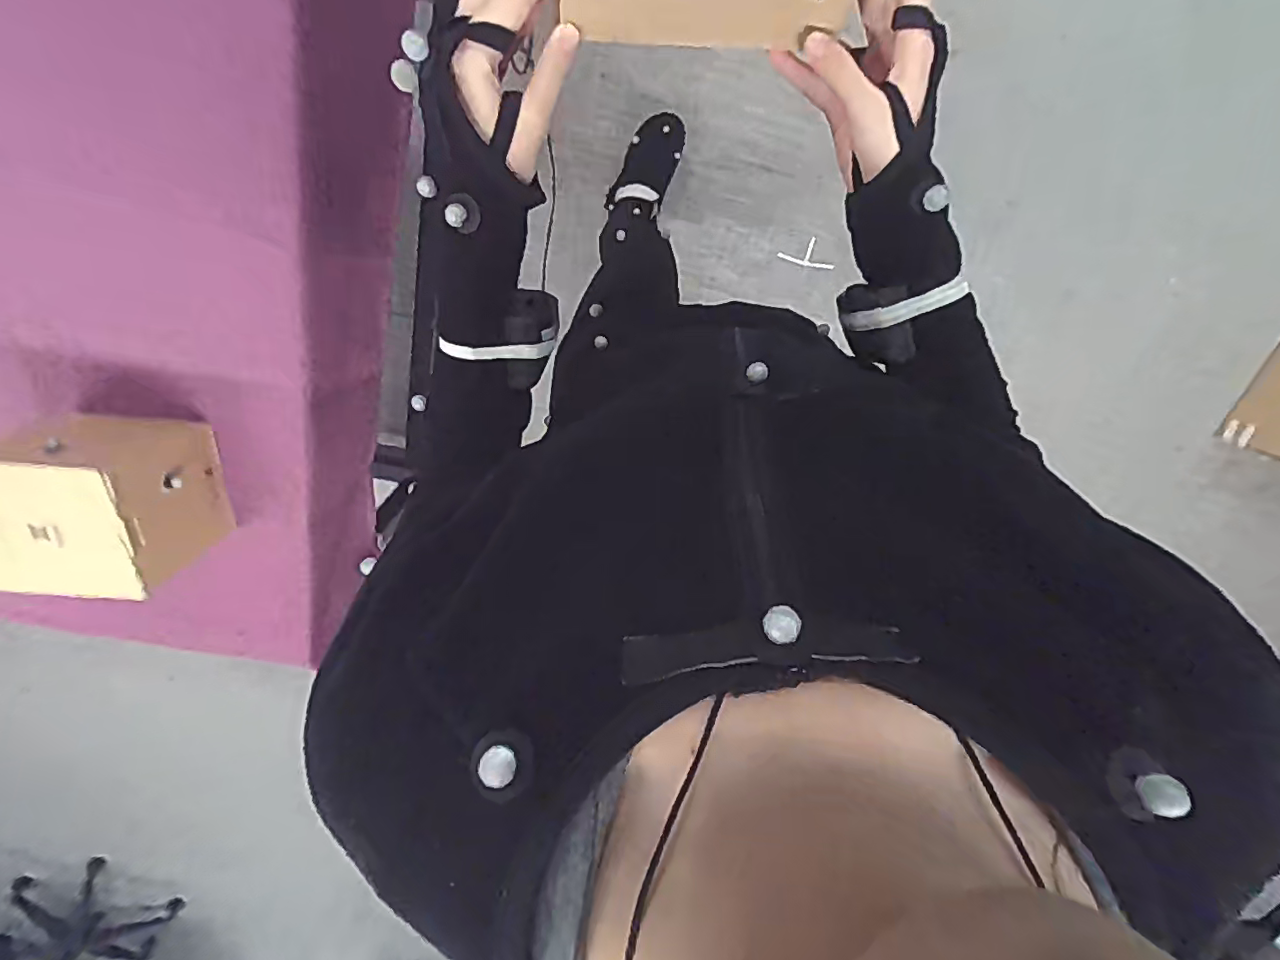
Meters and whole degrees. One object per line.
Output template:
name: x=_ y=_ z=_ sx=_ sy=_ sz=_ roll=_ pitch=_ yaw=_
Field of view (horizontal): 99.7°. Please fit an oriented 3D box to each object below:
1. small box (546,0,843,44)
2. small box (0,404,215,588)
small box: x=0.033 y=-0.369 z=0.272 sx=0.179 sy=0.176 sz=0.168 roll=-5 pitch=159 yaw=-13
small box: x=-0.668 y=0.012 z=0.665 sx=0.179 sy=0.176 sz=0.168 roll=6 pitch=114 yaw=-3
